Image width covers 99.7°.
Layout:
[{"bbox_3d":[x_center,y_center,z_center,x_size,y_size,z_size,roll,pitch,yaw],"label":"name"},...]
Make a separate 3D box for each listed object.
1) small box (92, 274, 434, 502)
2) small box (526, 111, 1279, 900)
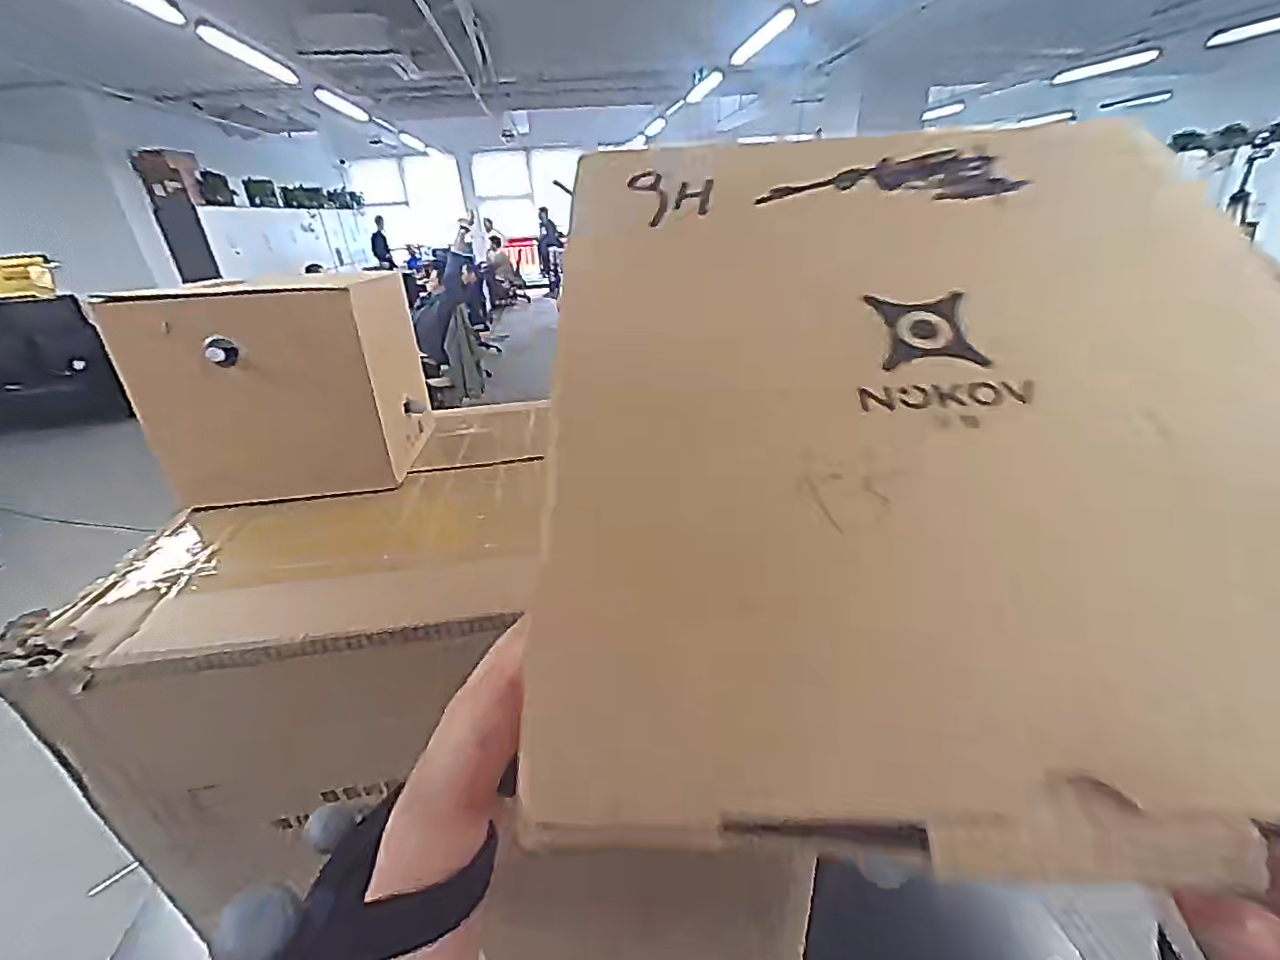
[{"bbox_3d":[-0.306,-0.089,0.490,0.179,0.176,0.168,-6,25,-7],"label":"small box"},{"bbox_3d":[0.069,0.016,0.185,0.168,0.176,0.179,-1,62,3],"label":"small box"}]
